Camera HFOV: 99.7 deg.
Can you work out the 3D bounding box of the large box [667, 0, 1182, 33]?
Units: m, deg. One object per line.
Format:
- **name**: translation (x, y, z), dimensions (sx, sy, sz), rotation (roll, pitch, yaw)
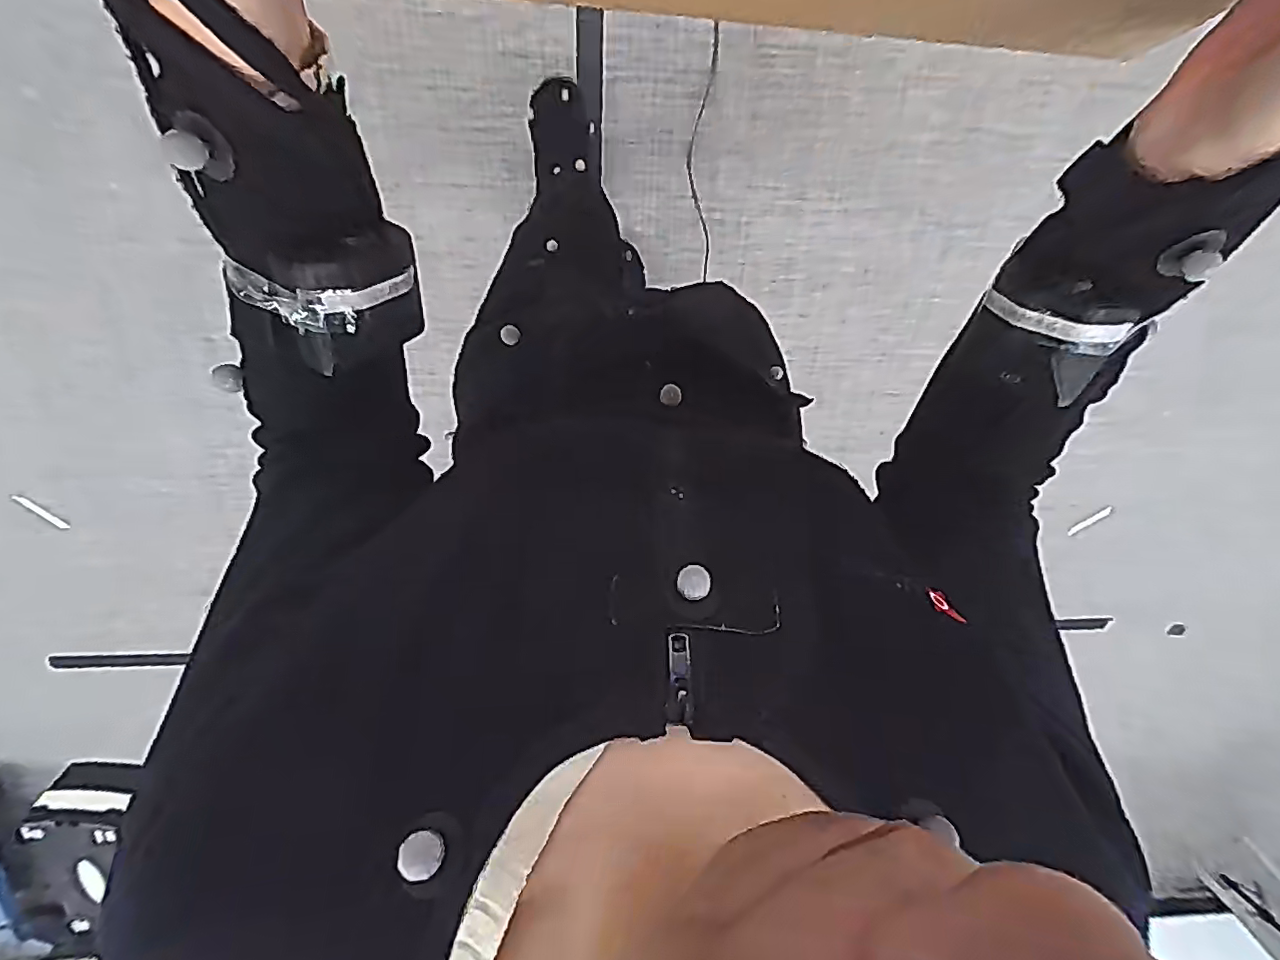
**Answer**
- **large box**: translation (0.062, -0.345, 0.091), dimensions (0.408, 0.320, 0.320), rotation (3, 107, -2)
